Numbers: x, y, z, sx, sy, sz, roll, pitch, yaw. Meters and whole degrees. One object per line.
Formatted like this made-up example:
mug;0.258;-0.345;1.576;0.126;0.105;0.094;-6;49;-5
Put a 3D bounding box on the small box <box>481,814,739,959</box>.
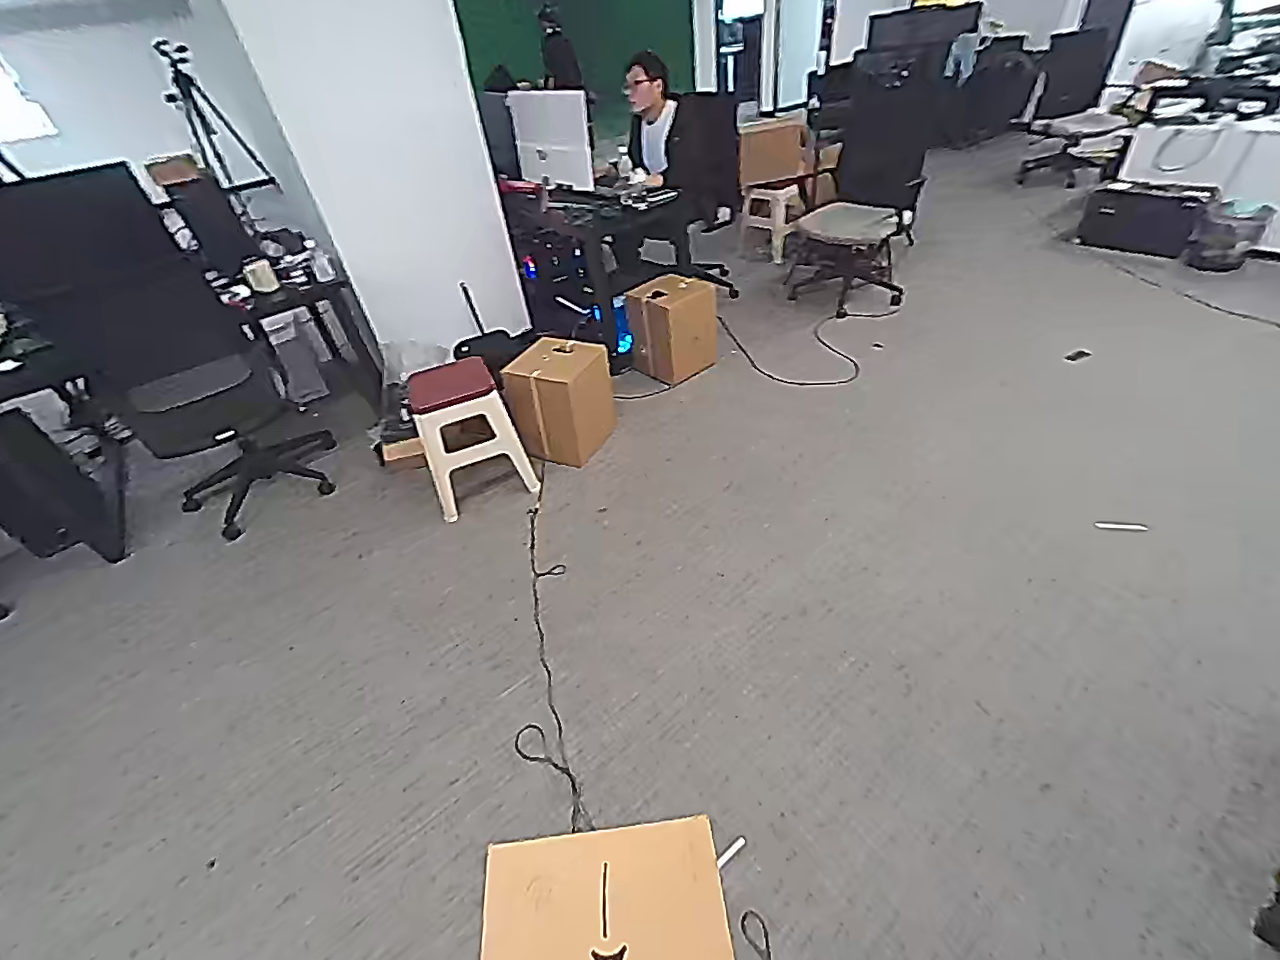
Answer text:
small box;-0.016;0.367;0.390;0.168;0.176;0.179;-5;47;-4
